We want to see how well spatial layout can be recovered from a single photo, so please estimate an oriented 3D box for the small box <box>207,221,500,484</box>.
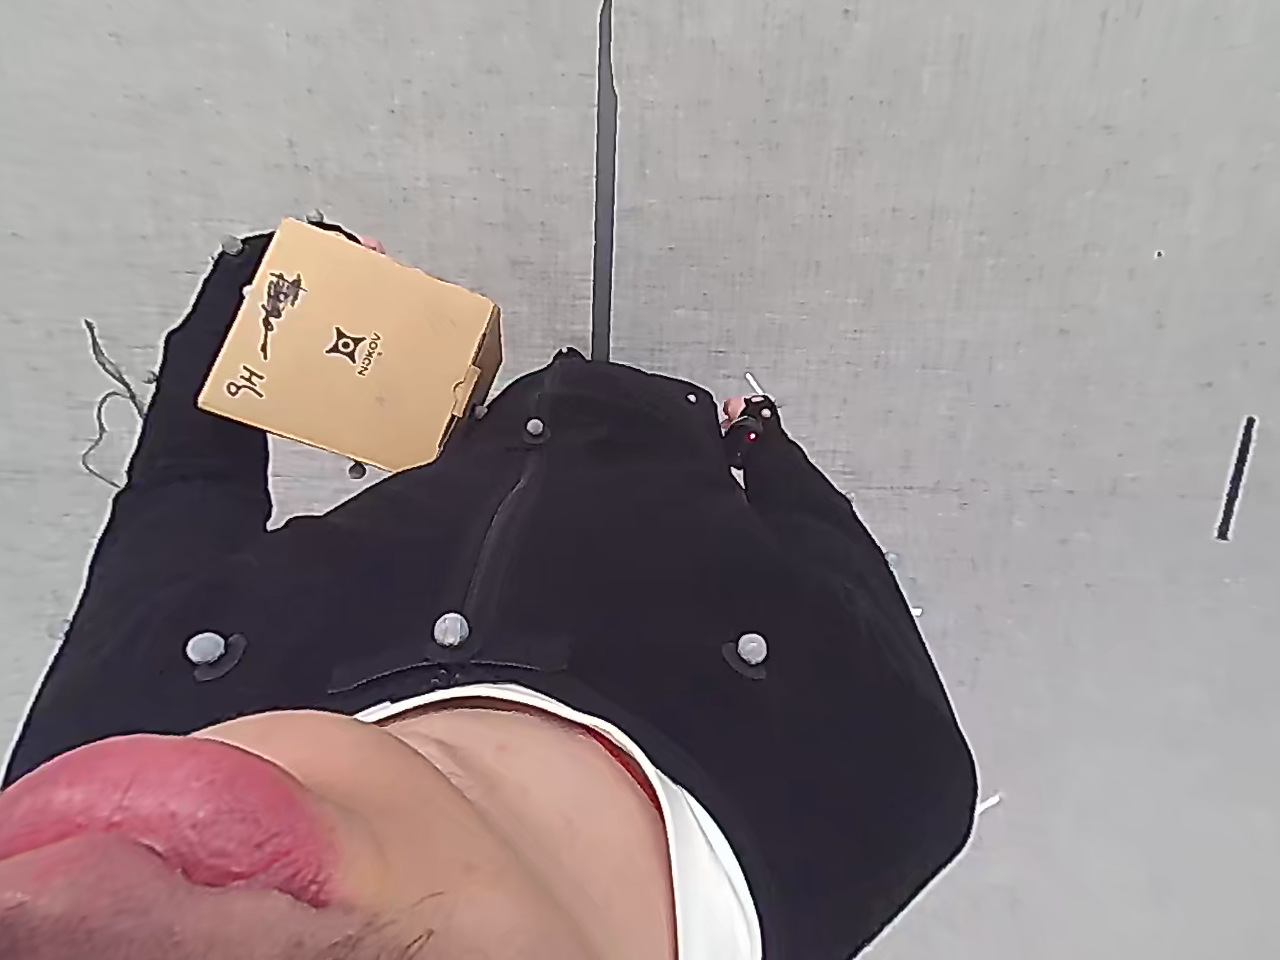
[{"bbox_3d":[-0.244,-0.099,0.515,0.179,0.176,0.168,20,82,-12],"label":"small box"}]
